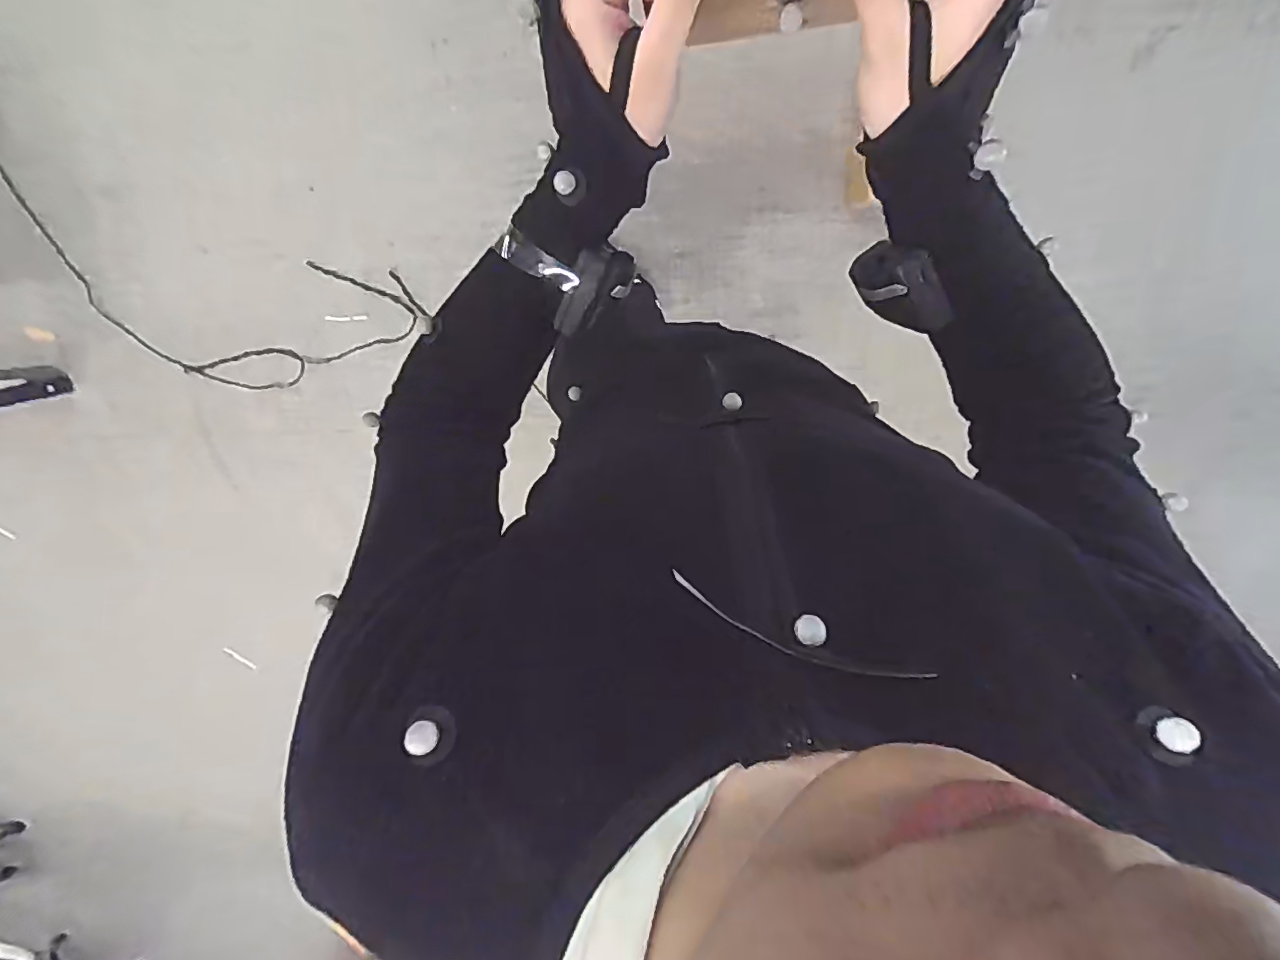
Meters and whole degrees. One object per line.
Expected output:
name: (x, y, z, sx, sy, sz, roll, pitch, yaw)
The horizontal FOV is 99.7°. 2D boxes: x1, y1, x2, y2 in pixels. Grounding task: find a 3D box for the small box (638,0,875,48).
small box: (0.074, -0.371, 0.300, 0.168, 0.176, 0.179, -8, 116, 3)
